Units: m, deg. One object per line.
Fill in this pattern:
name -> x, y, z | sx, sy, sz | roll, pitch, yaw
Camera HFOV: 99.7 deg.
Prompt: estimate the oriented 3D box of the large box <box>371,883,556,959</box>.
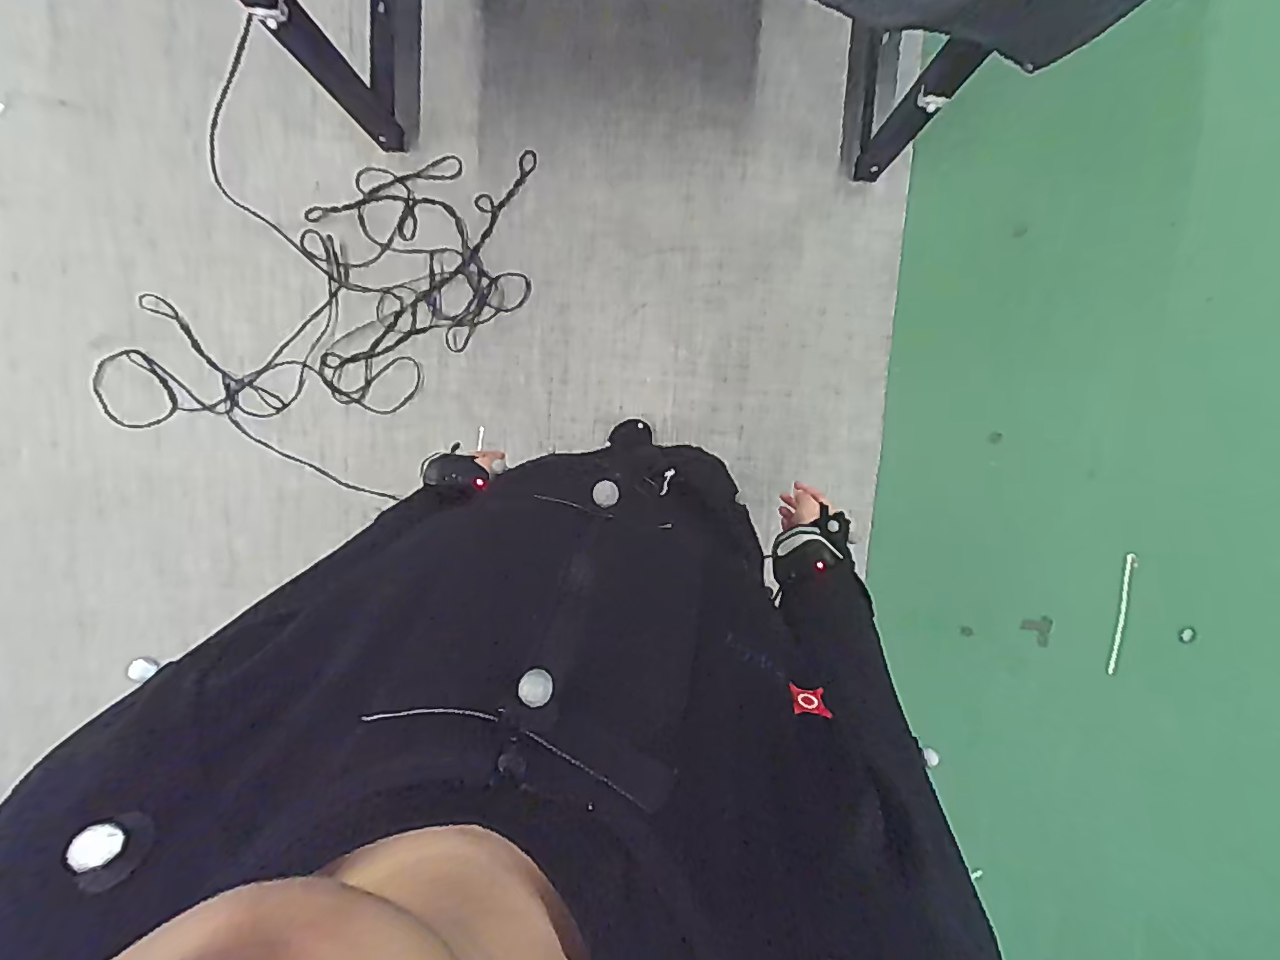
large box -> -0.443, 1.270, 1.318 | 0.408, 0.320, 0.320 | 10, 94, 1
